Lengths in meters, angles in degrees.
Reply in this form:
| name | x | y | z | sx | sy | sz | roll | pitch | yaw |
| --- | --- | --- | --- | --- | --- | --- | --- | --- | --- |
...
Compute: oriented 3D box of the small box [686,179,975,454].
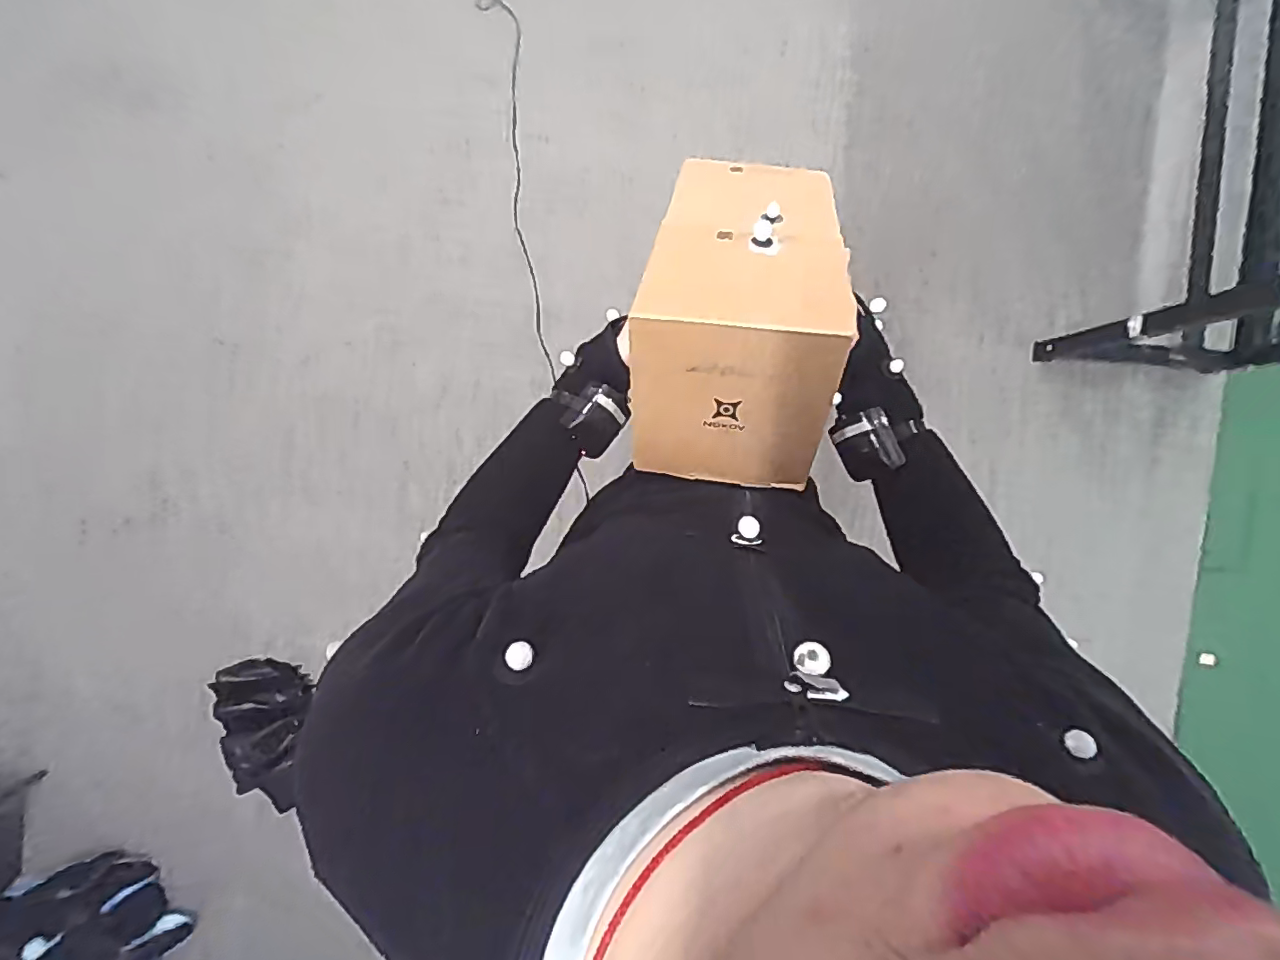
| name | x | y | z | sx | sy | sz | roll | pitch | yaw |
| --- | --- | --- | --- | --- | --- | --- | --- | --- | --- |
| small box | 0.173 | -0.159 | 0.529 | 0.179 | 0.168 | 0.176 | 19 | 121 | -22 |
